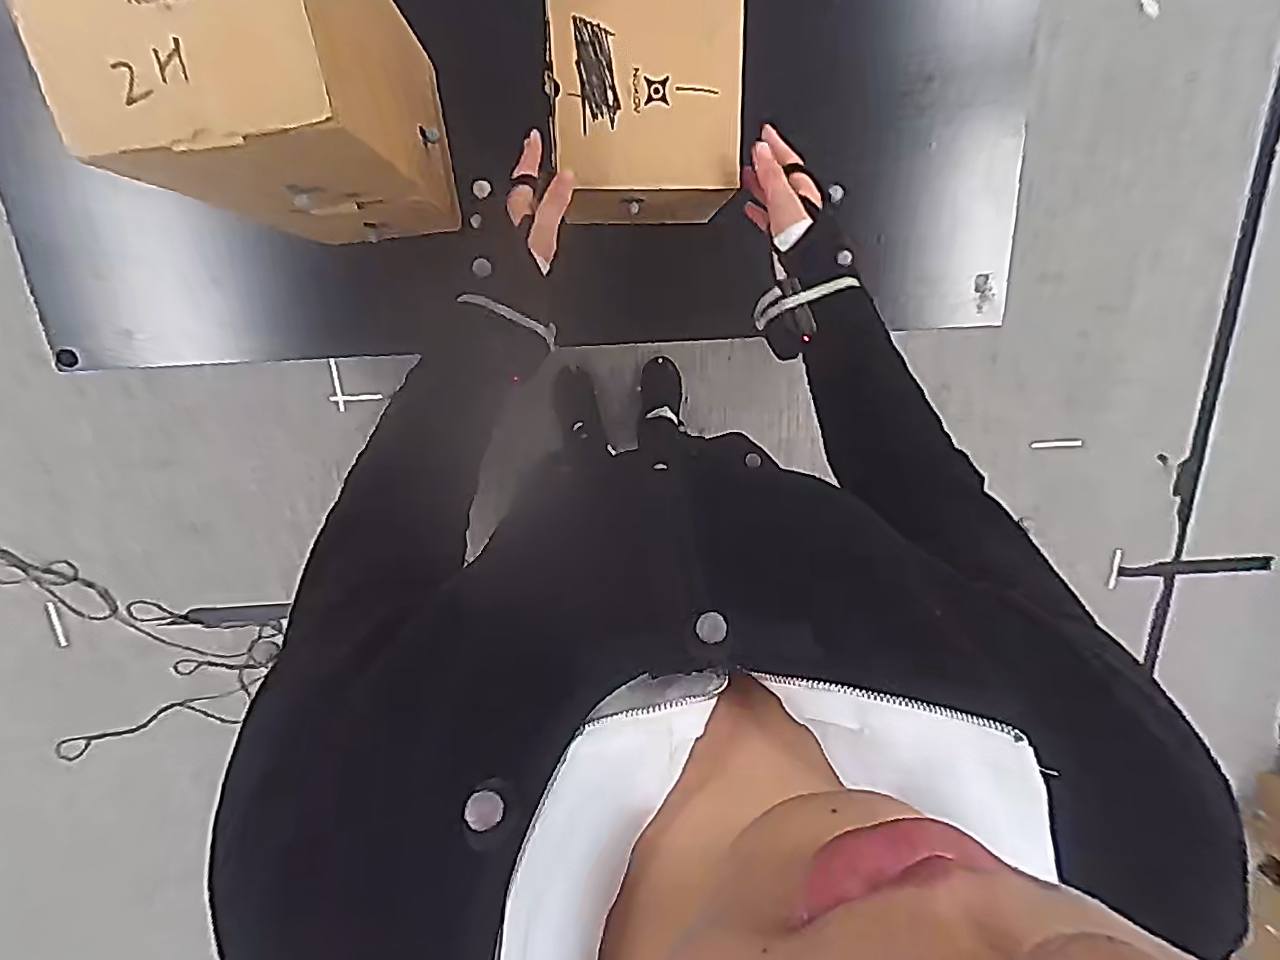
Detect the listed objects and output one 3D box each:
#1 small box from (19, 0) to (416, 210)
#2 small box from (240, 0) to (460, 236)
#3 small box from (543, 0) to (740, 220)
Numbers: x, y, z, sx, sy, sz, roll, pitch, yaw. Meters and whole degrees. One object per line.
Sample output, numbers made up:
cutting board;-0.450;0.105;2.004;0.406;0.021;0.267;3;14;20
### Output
small box;-0.288;-0.319;0.395;0.168;0.176;0.179;-9;106;-1
small box;-0.299;-0.358;0.556;0.168;0.176;0.179;-7;106;-1
small box;-0.001;-0.379;0.569;0.179;0.176;0.168;-2;105;-4
